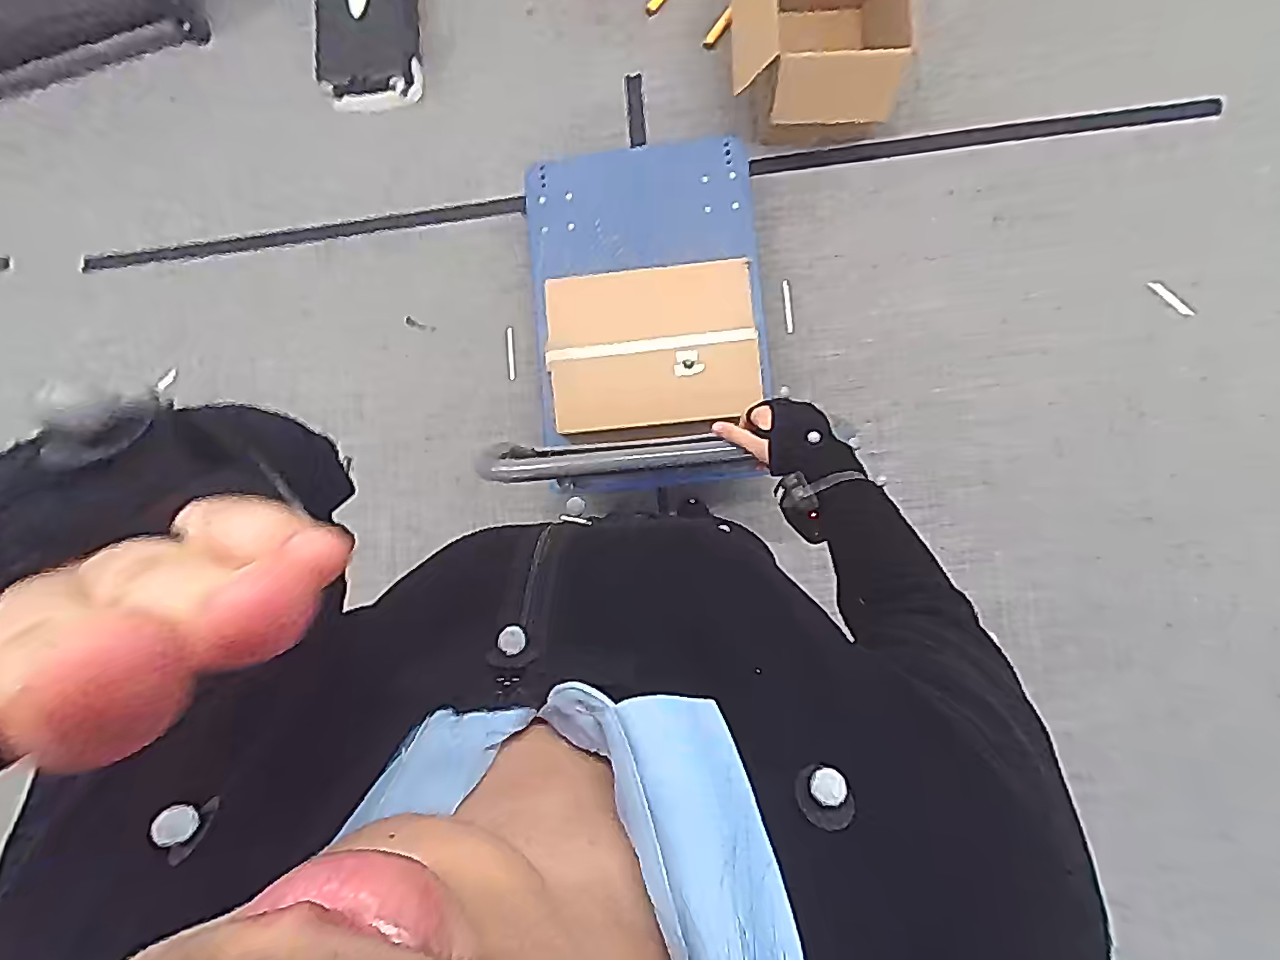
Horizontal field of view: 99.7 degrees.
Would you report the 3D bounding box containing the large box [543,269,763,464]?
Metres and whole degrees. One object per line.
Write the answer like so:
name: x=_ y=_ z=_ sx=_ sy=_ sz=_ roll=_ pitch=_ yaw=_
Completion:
large box: x=0.026 y=-0.224 z=1.189 sx=0.408 sy=0.320 sz=0.320 roll=-6 pitch=86 yaw=2
